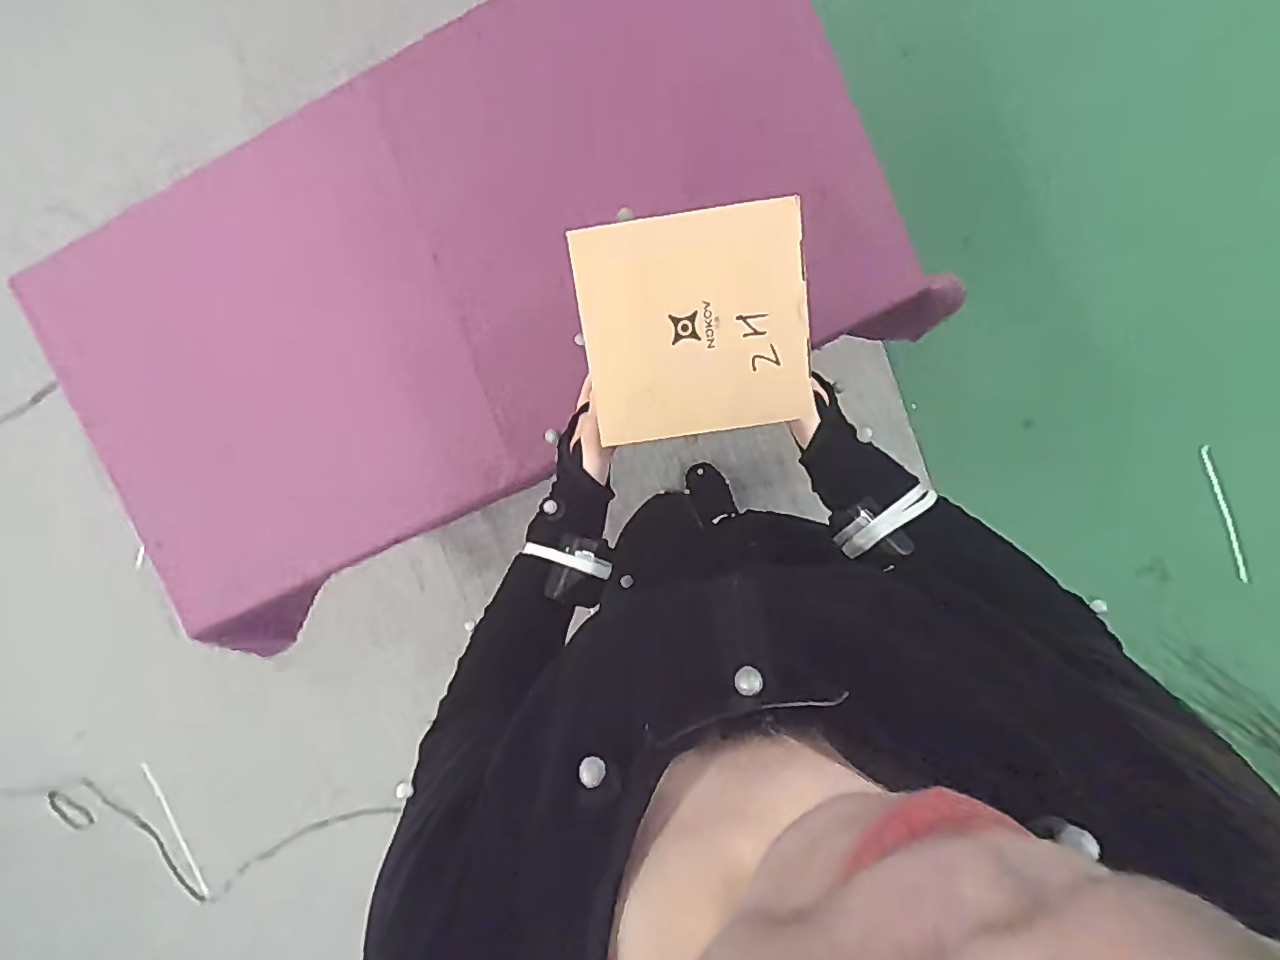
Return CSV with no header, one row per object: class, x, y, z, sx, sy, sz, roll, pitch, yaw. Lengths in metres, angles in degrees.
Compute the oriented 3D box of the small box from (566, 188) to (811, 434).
small box,0.041,-0.143,0.488,0.179,0.176,0.168,-7,105,2
